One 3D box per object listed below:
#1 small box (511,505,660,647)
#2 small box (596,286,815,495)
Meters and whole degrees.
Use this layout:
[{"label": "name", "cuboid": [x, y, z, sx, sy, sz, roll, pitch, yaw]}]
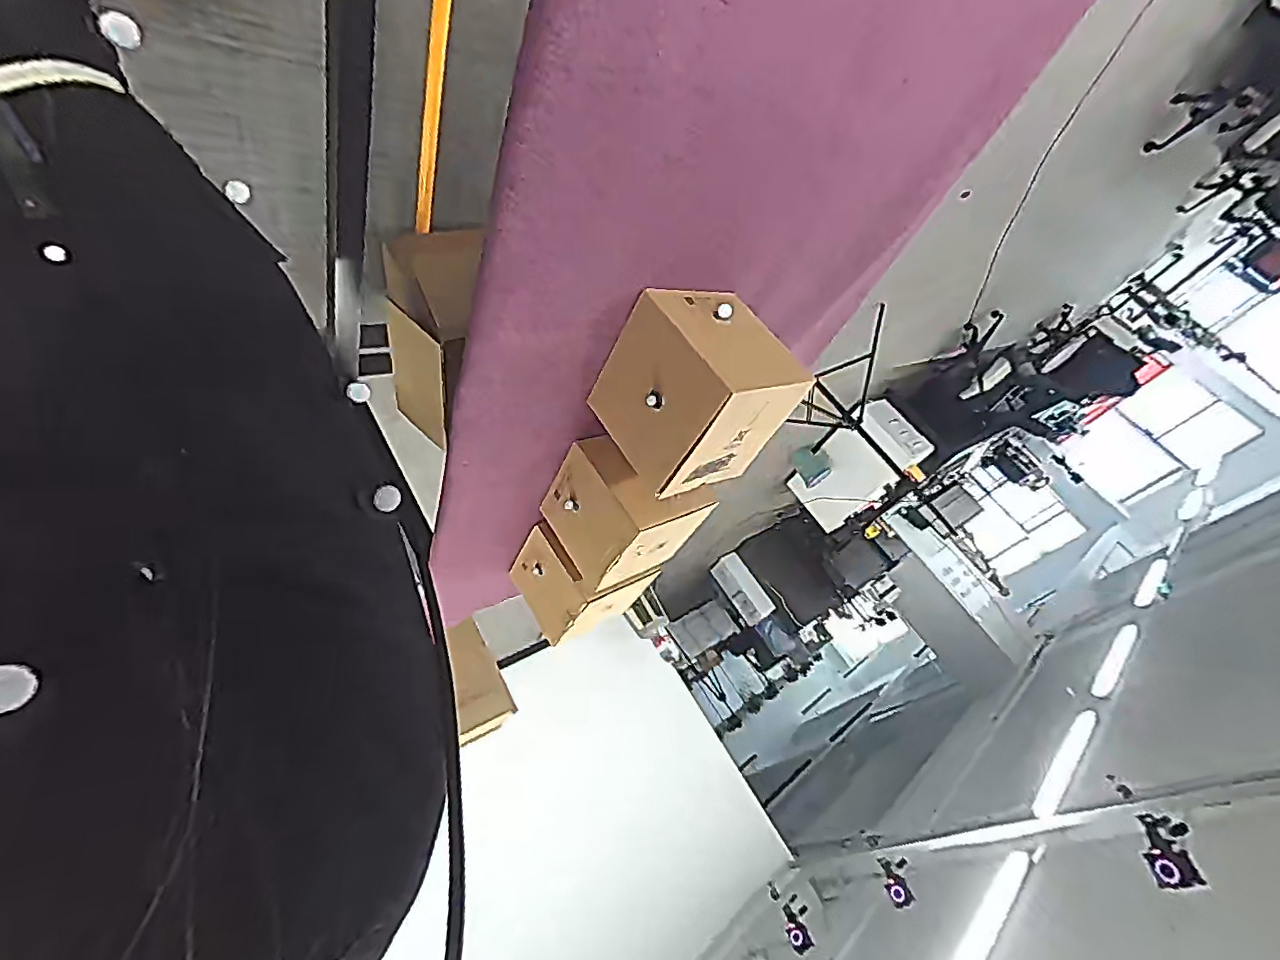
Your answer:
[{"label": "small box", "cuboid": [-0.103, 0.165, 0.984, 0.179, 0.176, 0.168, -15, 151, -42]}, {"label": "small box", "cuboid": [0.069, -0.110, 0.667, 0.168, 0.176, 0.179, -15, 150, -41]}]
